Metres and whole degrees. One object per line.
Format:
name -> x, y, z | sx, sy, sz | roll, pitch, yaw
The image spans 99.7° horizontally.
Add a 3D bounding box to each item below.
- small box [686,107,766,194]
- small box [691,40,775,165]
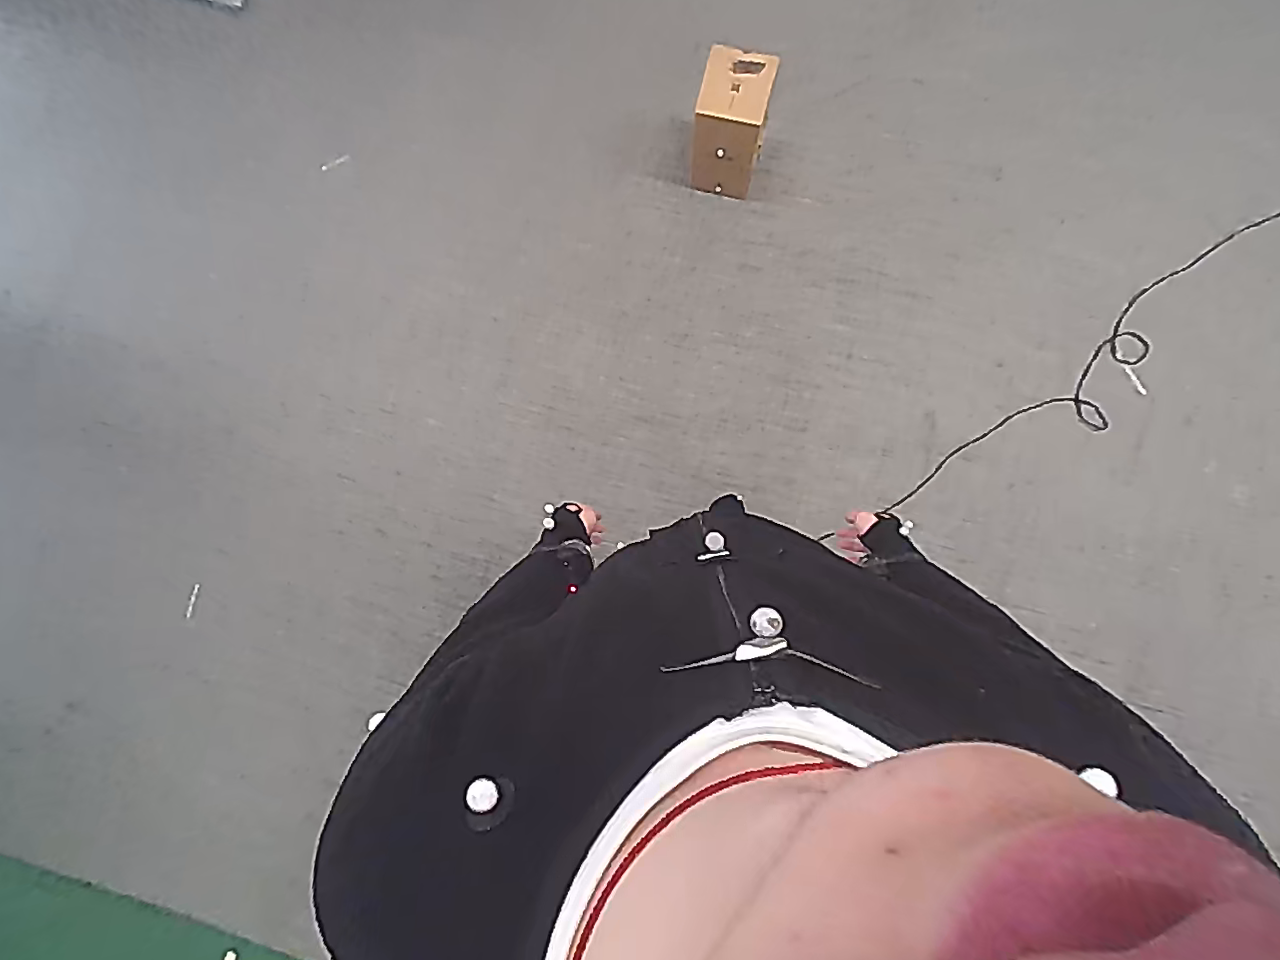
small box -> 0.236, -0.941, 1.525 | 0.179, 0.176, 0.168 | 16, 88, 4
small box -> 0.226, -0.941, 1.360 | 0.168, 0.176, 0.179 | 15, 89, 4
